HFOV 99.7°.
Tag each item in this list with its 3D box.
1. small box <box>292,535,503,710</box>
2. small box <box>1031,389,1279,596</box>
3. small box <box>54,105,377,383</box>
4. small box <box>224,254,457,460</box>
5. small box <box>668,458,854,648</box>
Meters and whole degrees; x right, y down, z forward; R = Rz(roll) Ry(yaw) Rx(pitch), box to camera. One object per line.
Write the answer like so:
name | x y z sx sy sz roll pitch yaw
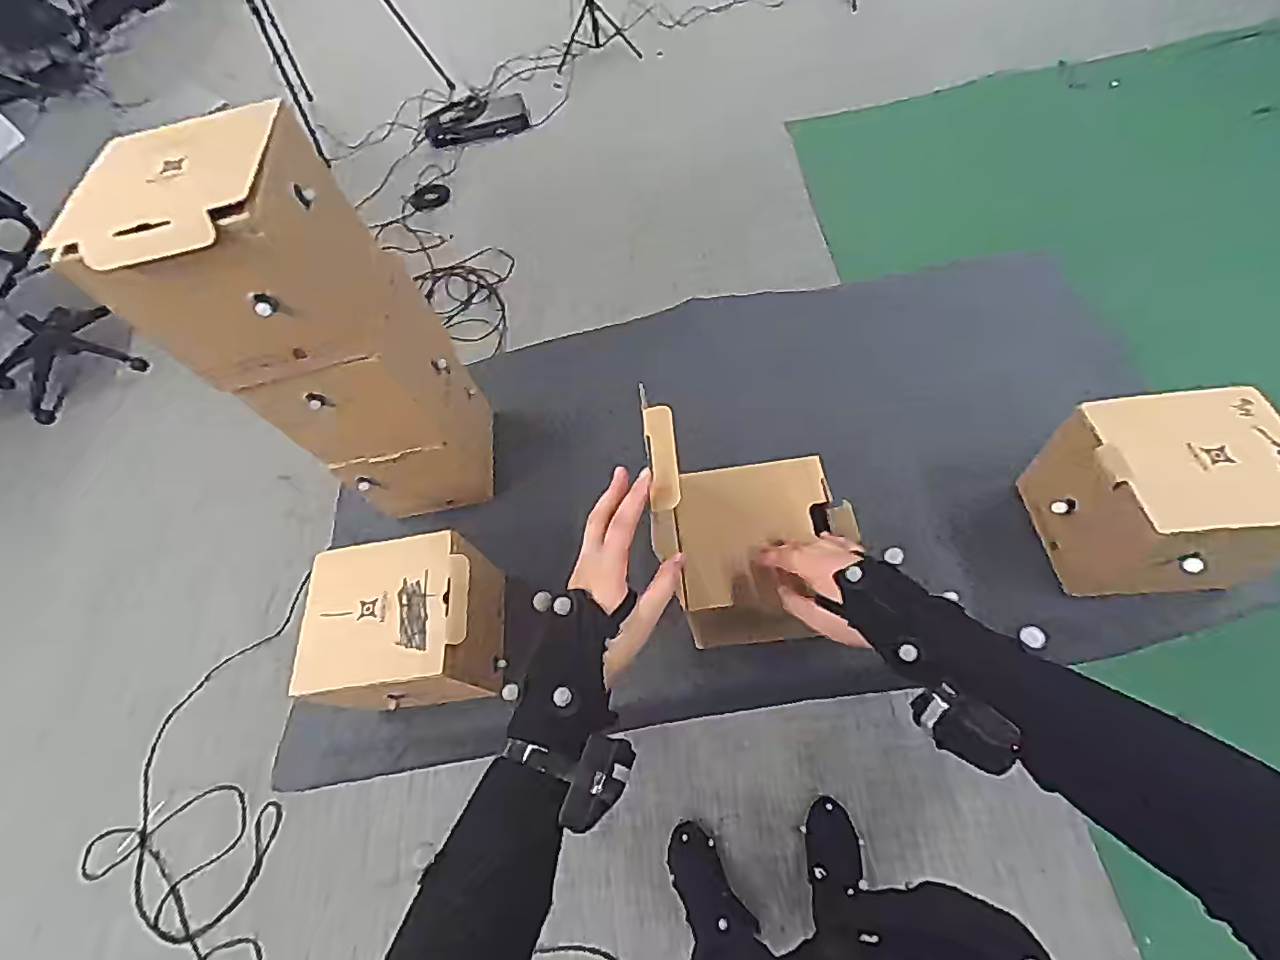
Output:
small box | -0.280 0.184 0.671 0.179 0.176 0.168 -10 61 5
small box | 0.579 0.023 0.604 0.179 0.176 0.168 -6 57 8
small box | -0.378 -0.214 0.525 0.168 0.176 0.179 -13 60 1
small box | -0.348 -0.140 0.666 0.179 0.176 0.168 -10 62 4
small box | 0.136 0.096 0.649 0.179 0.176 0.168 -8 60 6
